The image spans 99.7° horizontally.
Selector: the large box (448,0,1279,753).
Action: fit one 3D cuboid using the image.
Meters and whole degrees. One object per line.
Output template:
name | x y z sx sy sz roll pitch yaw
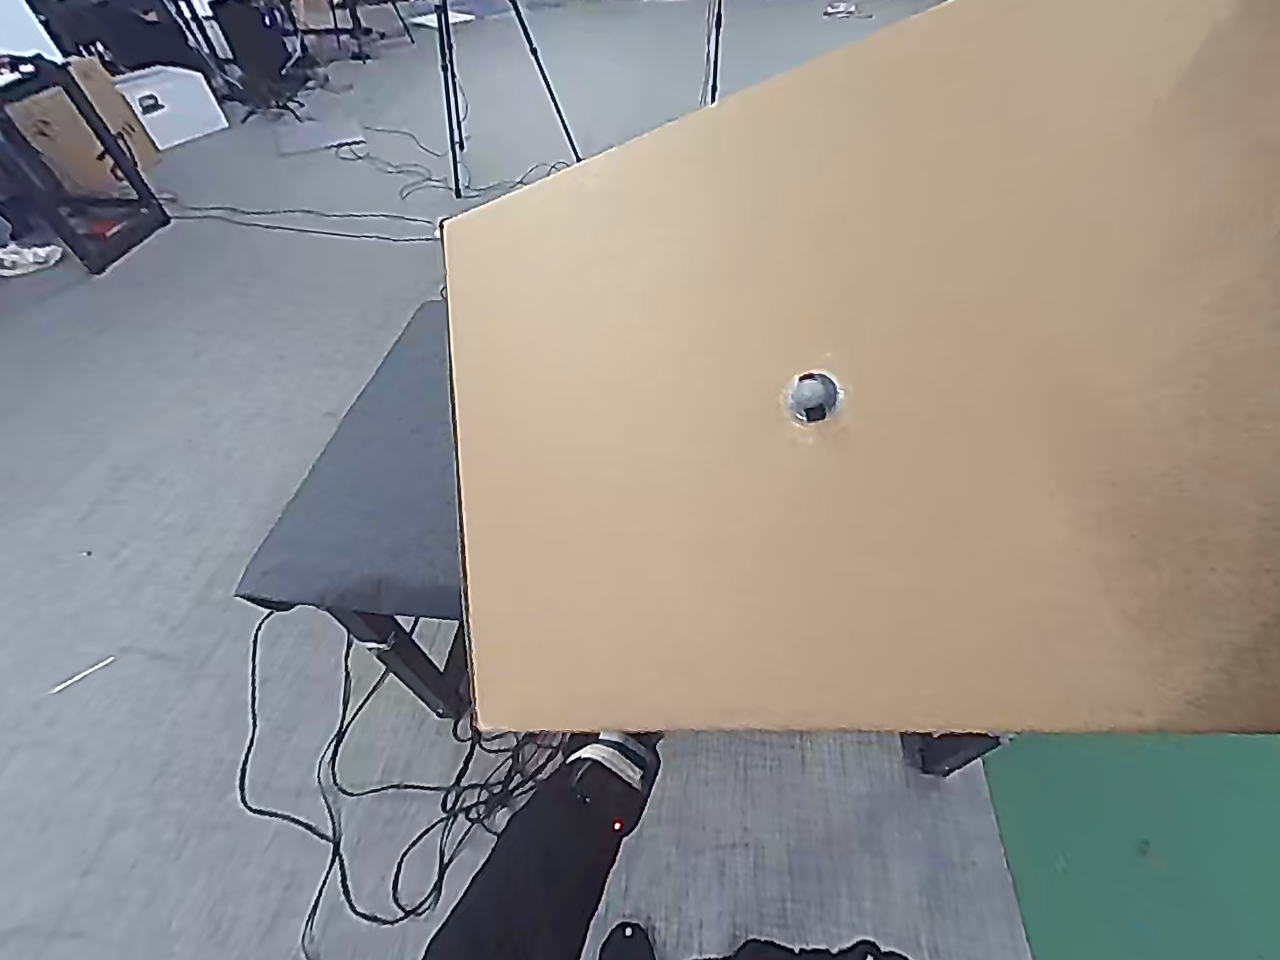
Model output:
large box | 0.138 -0.023 0.391 0.408 0.320 0.320 -12 80 20
